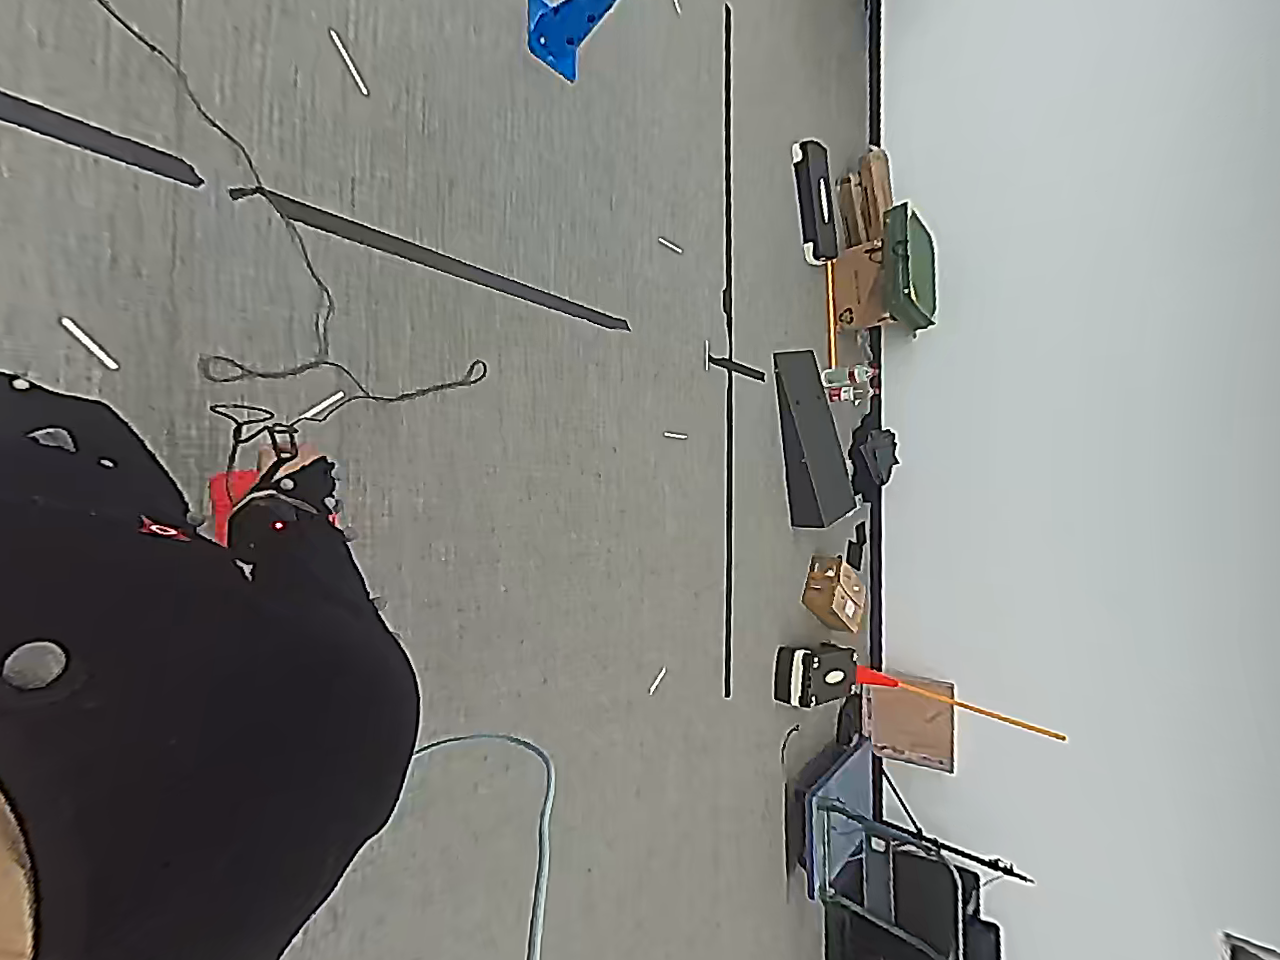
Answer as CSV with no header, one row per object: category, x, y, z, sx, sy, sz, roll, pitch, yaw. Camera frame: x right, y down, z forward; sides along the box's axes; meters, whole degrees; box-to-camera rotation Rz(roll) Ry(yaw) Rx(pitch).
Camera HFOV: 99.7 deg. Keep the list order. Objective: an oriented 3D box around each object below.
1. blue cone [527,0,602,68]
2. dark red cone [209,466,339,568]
blue cone,-0.173,-1.496,1.681,0.193,0.380,0.192,3,86,-48
dark red cone,-0.678,0.071,1.058,0.202,0.394,0.201,-9,95,-48
